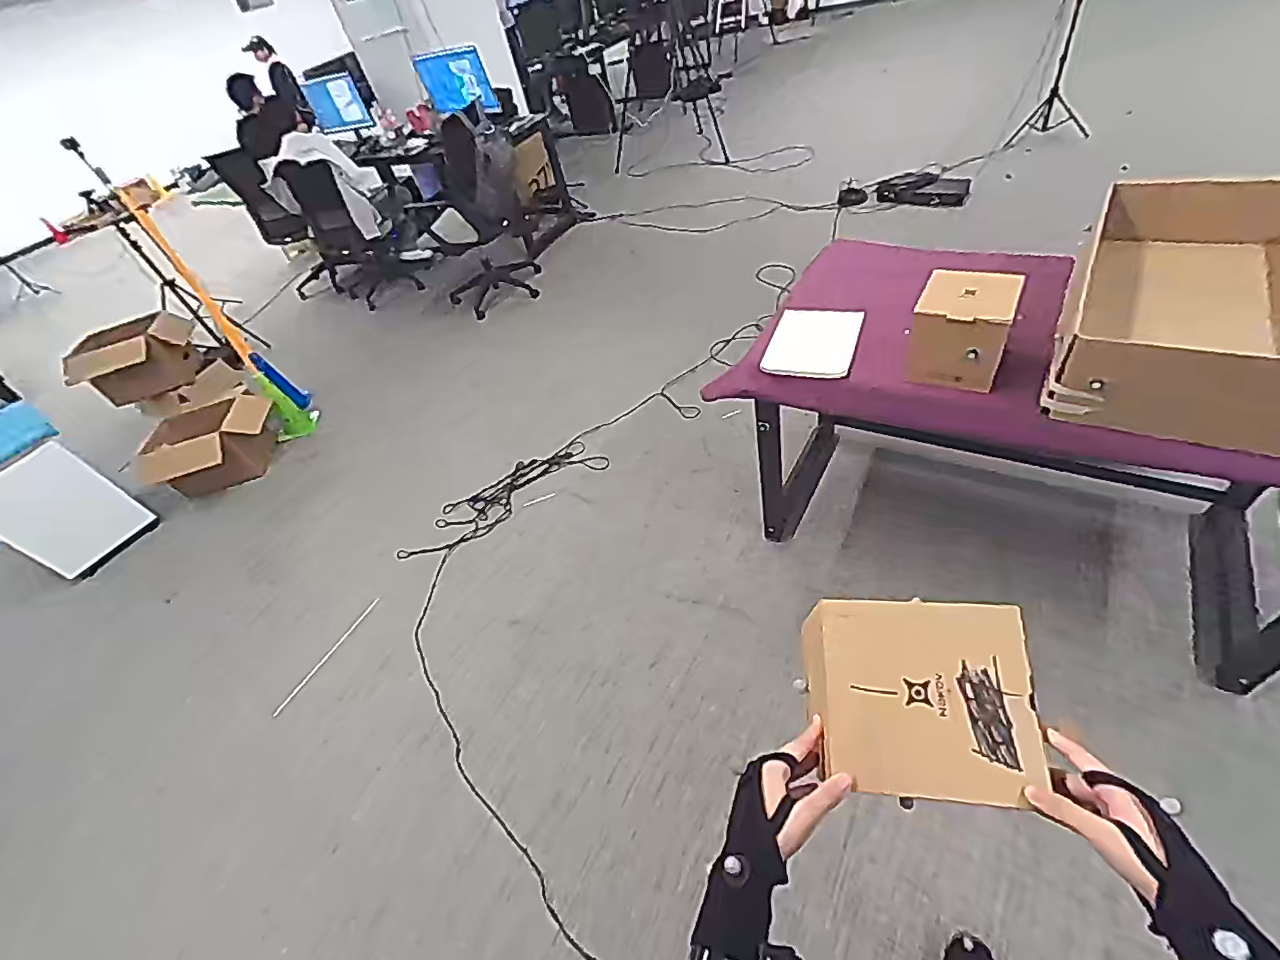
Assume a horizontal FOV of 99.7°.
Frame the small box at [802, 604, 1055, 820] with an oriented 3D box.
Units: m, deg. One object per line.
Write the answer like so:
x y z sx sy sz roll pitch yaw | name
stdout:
0.267 0.228 0.550 0.179 0.176 0.168 0 65 11 | small box

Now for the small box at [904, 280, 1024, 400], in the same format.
0.657 -0.287 1.111 0.168 0.176 0.179 18 52 30 | small box
